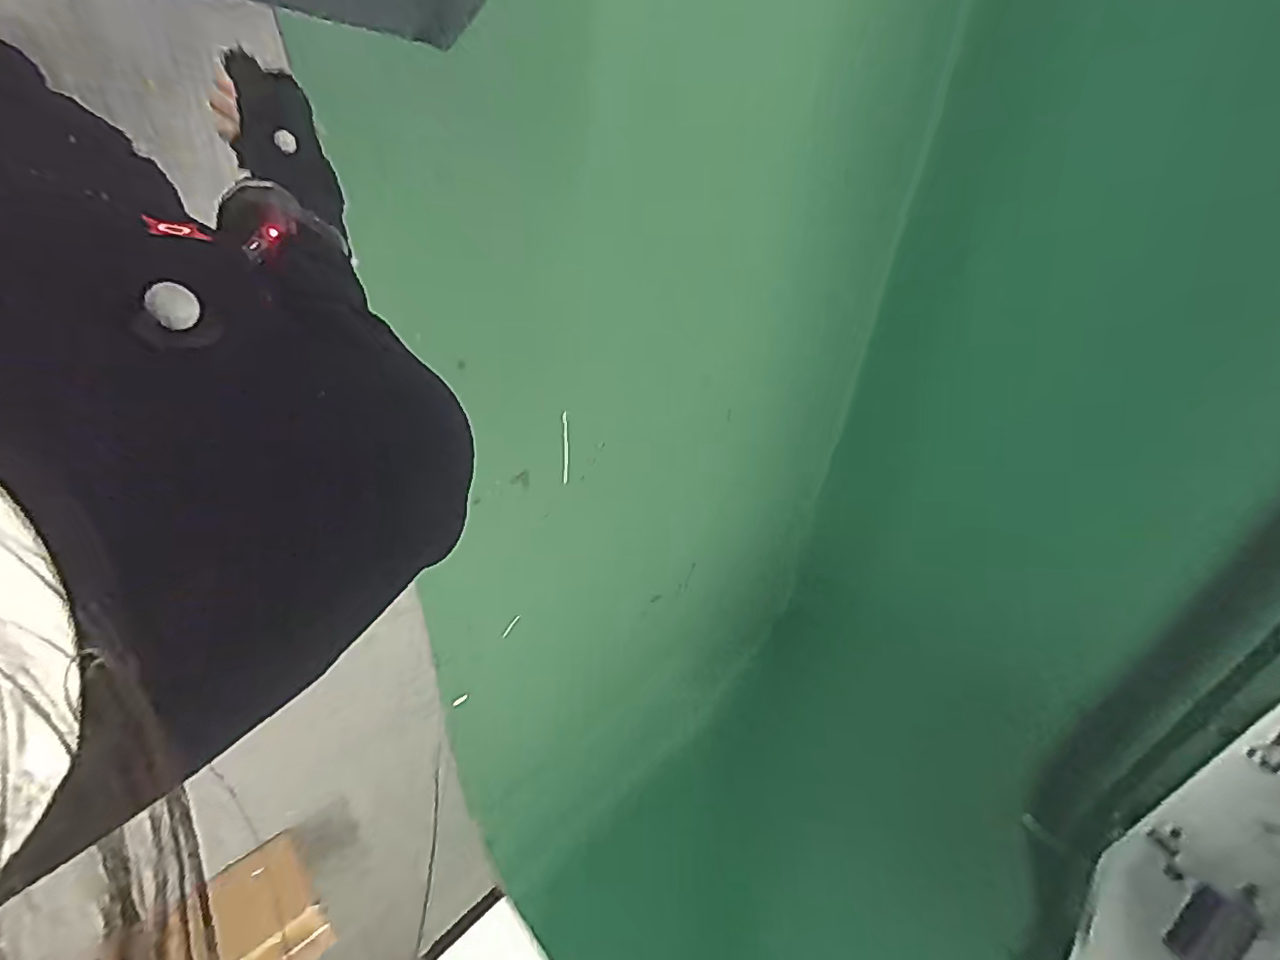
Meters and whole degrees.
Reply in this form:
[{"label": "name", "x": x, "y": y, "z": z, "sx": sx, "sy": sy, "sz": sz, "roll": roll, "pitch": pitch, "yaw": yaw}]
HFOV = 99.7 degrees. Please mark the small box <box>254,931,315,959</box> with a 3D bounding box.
[{"label": "small box", "x": -1.109, "y": 1.559, "z": 1.670, "sx": 0.179, "sy": 0.176, "sz": 0.168, "roll": -26, "pitch": 132, "yaw": -35}]
